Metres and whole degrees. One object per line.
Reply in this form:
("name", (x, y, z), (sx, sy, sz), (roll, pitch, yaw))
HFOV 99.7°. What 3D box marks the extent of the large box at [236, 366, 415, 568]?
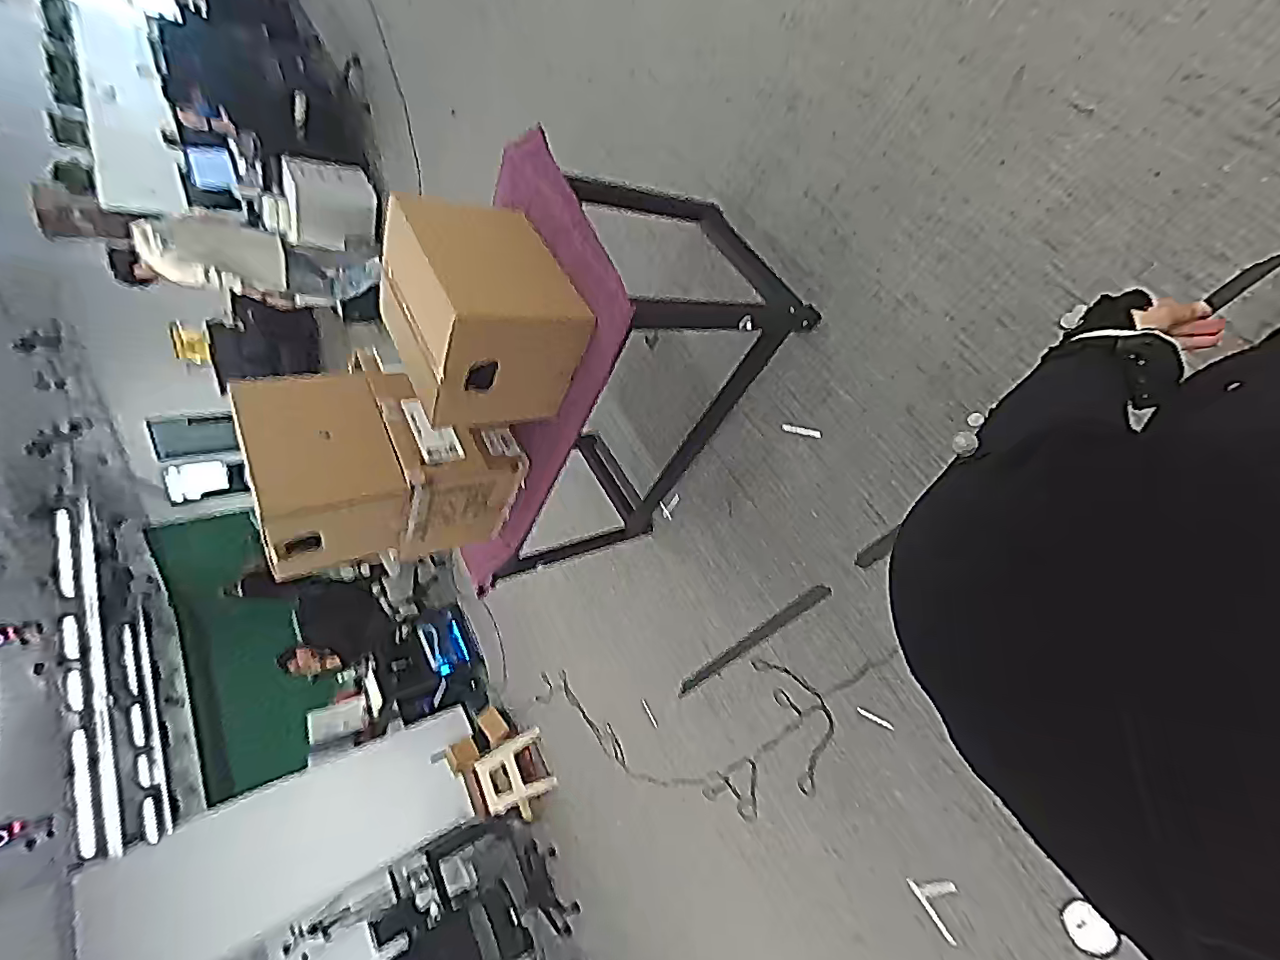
("large box", (-0.823, -0.045, 1.431), (0.408, 0.320, 0.320), (59, 143, 22))
